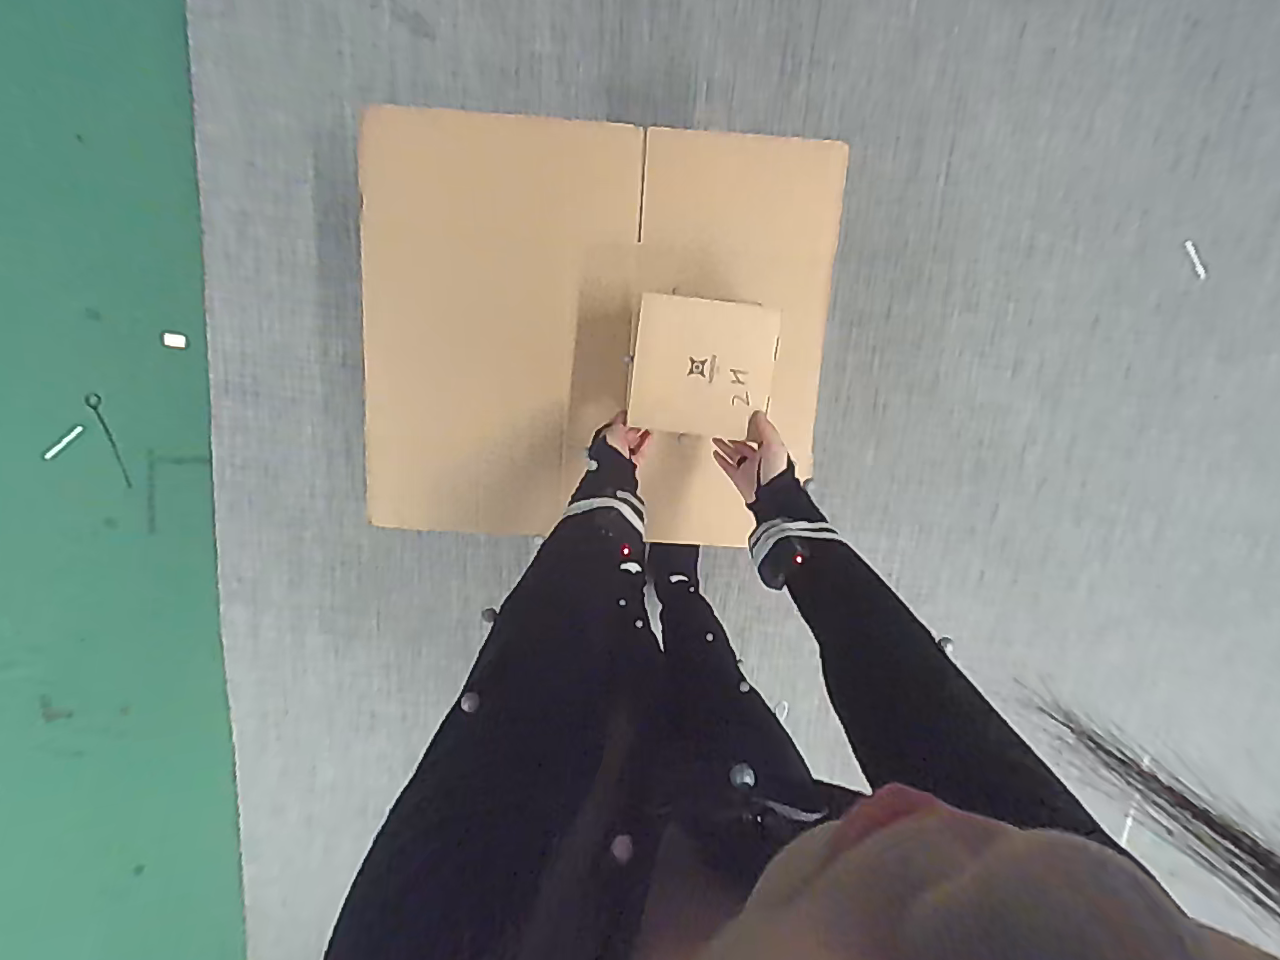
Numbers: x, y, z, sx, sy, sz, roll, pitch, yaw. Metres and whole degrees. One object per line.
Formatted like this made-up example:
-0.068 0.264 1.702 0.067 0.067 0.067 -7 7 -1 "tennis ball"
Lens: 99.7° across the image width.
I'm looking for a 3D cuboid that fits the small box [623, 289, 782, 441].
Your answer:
0.076 -0.151 0.741 0.179 0.176 0.168 8 100 -1 "small box"
